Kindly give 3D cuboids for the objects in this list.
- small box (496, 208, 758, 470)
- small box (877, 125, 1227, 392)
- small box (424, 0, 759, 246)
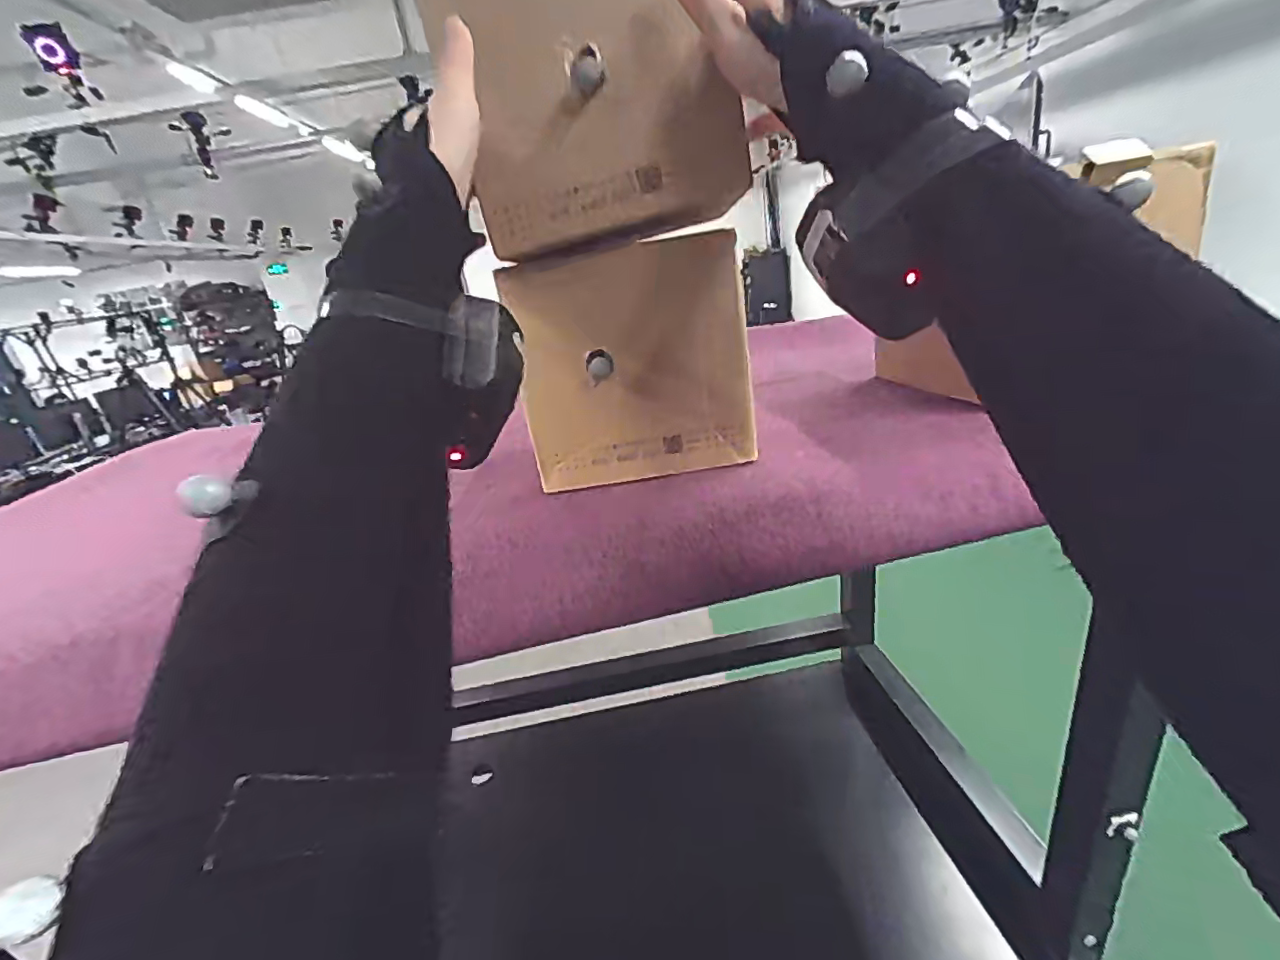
[{"bbox_3d":[-0.002,-0.113,0.455,0.168,0.176,0.179,-9,20,3],"label":"small box"},{"bbox_3d":[0.333,-0.181,0.476,0.168,0.176,0.179,-11,20,-4],"label":"small box"},{"bbox_3d":[-0.024,-0.266,0.371,0.168,0.176,0.179,-13,20,6],"label":"small box"}]
